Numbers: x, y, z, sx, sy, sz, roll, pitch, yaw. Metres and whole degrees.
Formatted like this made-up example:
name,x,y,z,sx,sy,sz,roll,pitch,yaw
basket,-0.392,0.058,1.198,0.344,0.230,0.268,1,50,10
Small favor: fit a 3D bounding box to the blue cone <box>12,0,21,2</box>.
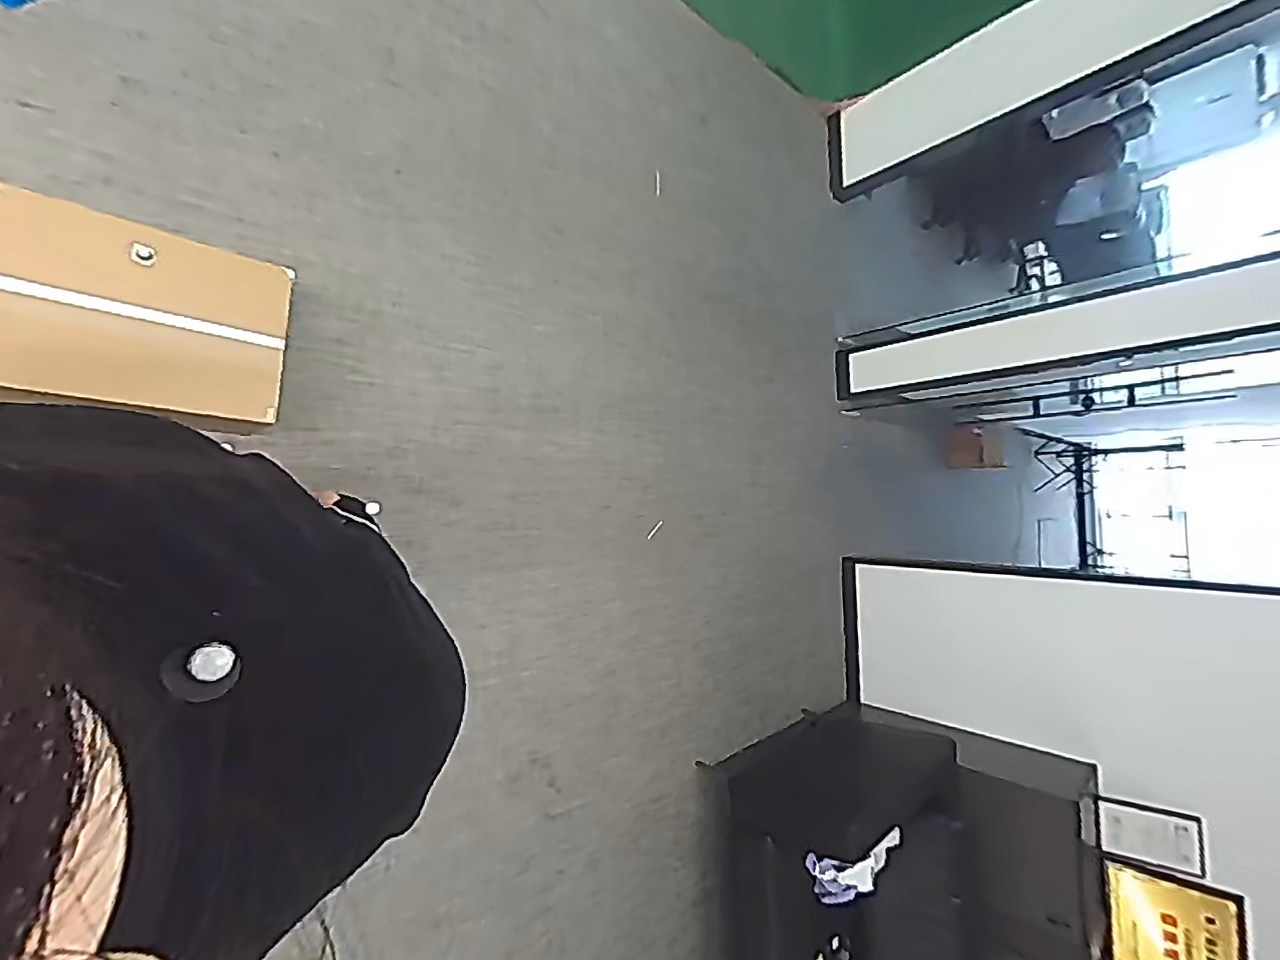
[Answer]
name,x,y,z,sx,sy,sz,roll,pitch,yaw
blue cone,-1.103,-1.037,0.890,0.192,0.380,0.193,41,61,-34
